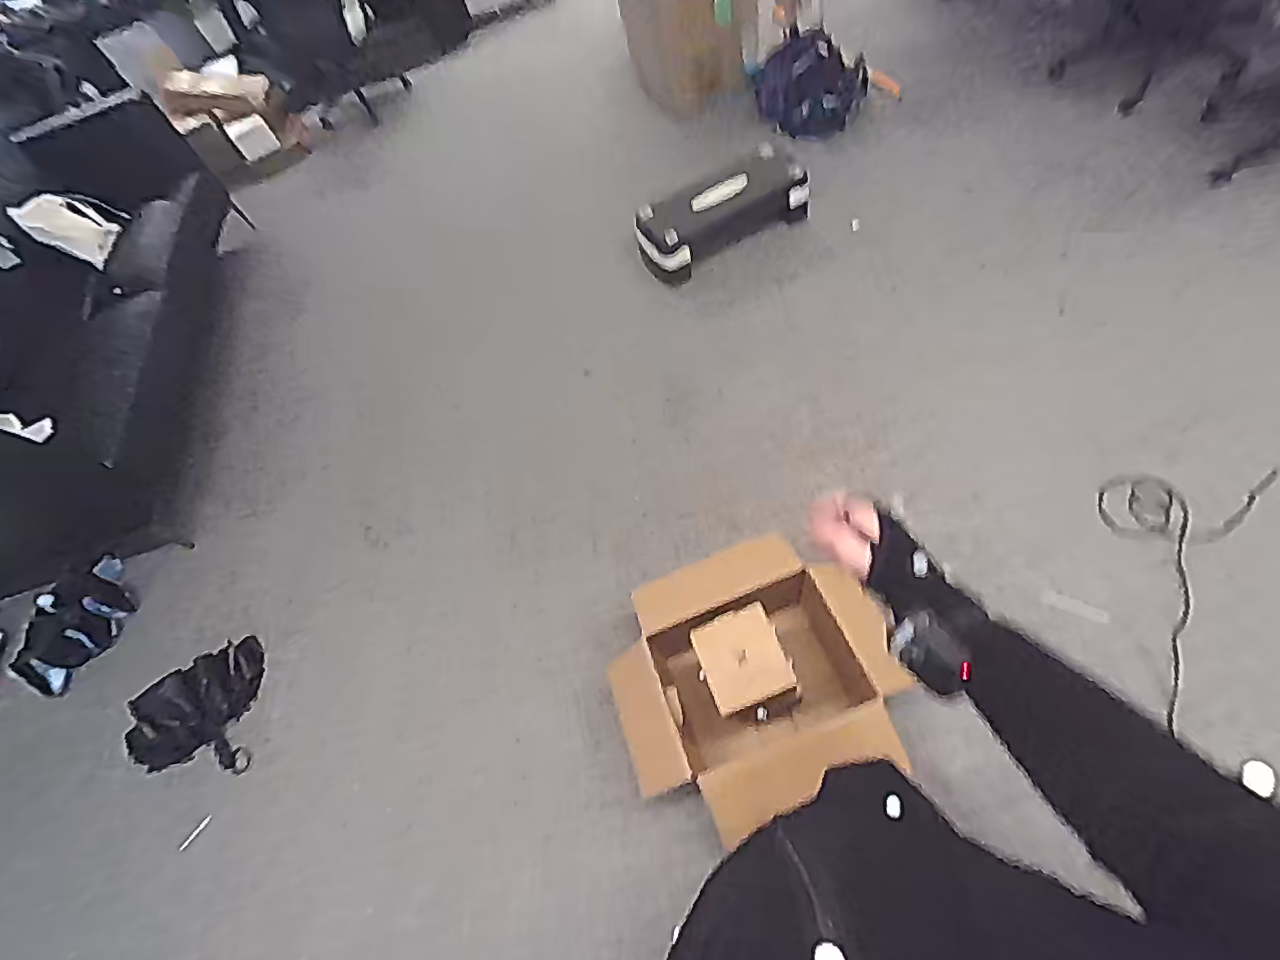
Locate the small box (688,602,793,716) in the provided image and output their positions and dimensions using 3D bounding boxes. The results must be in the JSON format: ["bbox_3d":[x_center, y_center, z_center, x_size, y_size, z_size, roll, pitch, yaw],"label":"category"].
[{"bbox_3d":[0.218,0.395,1.178,0.168,0.176,0.179,-23,60,2],"label":"small box"}]
